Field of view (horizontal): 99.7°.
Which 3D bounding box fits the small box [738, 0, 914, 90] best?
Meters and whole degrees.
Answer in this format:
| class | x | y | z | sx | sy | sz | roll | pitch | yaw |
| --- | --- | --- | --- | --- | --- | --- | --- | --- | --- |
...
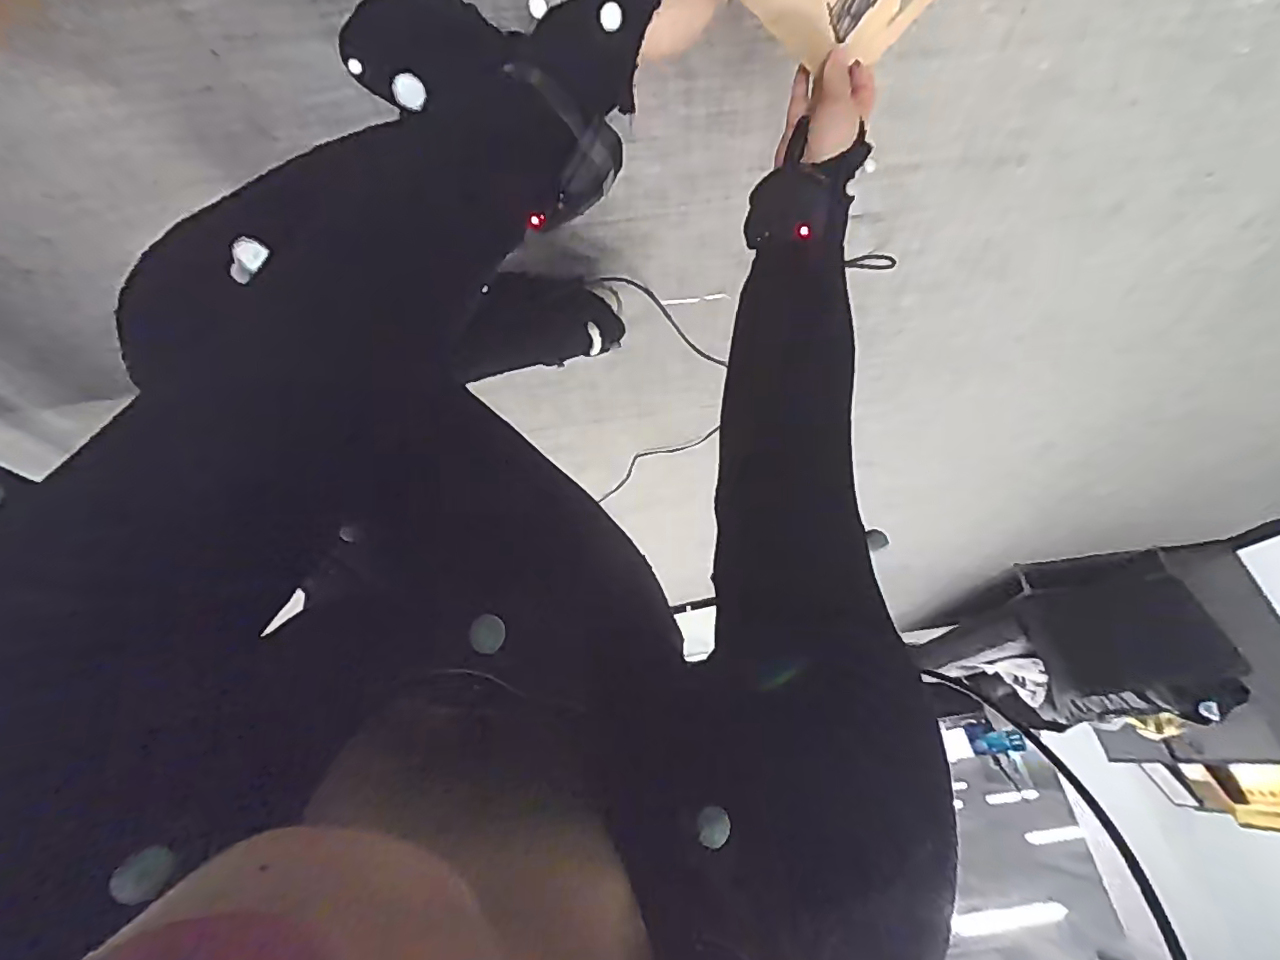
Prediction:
| class | x | y | z | sx | sy | sz | roll | pitch | yaw |
| --- | --- | --- | --- | --- | --- | --- | --- | --- | --- |
| small box | 0.147 | -0.482 | 0.435 | 0.179 | 0.176 | 0.168 | 14 | 146 | -35 |
